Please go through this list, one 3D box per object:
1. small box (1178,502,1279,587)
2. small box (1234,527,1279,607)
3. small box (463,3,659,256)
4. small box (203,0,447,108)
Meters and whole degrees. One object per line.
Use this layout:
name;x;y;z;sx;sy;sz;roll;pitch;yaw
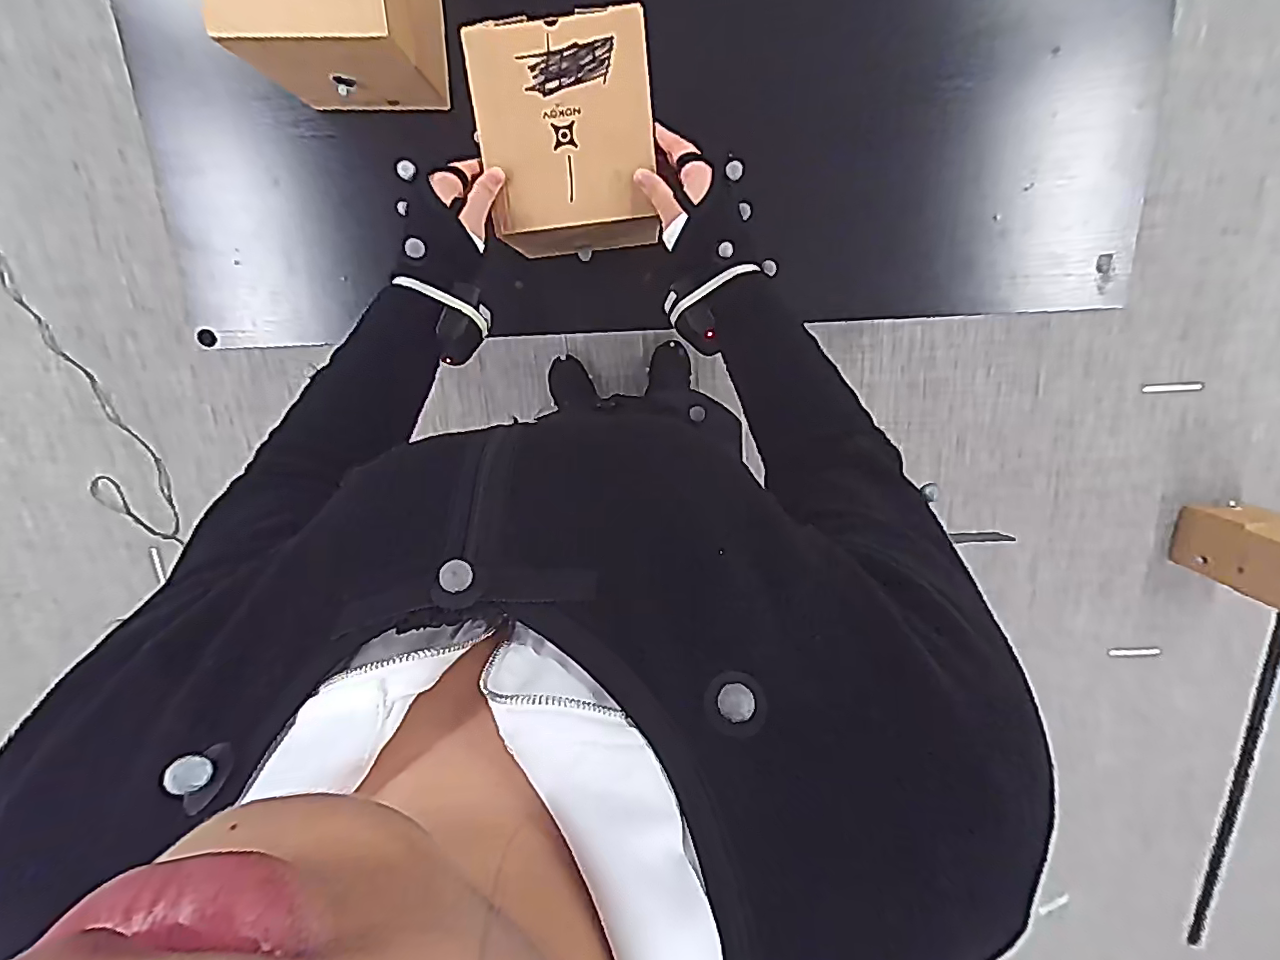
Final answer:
small box;1.609;0.170;1.447;0.168;0.176;0.179;-3;104;1
small box;1.606;0.214;1.289;0.179;0.176;0.168;-5;105;1
small box;-0.071;-0.354;0.581;0.168;0.176;0.179;-6;105;3
small box;-0.308;-0.502;0.545;0.168;0.176;0.179;0;105;0
